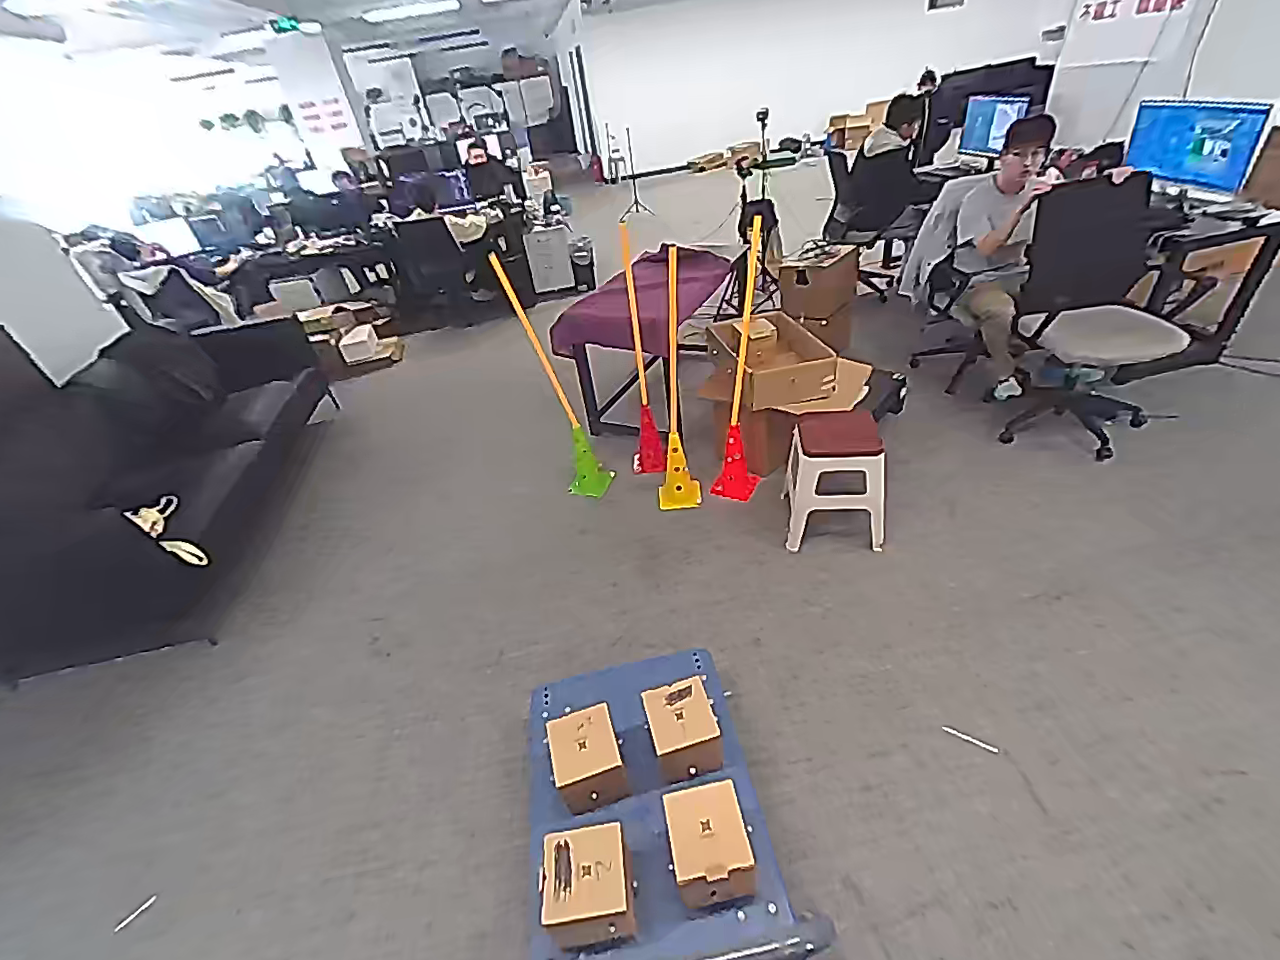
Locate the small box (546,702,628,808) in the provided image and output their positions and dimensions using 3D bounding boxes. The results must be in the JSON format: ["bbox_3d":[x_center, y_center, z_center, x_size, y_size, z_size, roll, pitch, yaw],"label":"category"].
[{"bbox_3d":[-0.136,0.721,1.407,0.168,0.176,0.179,-15,38,-8],"label":"small box"}]

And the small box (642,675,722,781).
[{"bbox_3d":[0.111,0.657,1.433,0.168,0.176,0.179,-15,38,-6],"label":"small box"}]

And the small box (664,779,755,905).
[{"bbox_3d":[0.154,0.816,1.220,0.168,0.176,0.179,-12,37,-3],"label":"small box"}]
